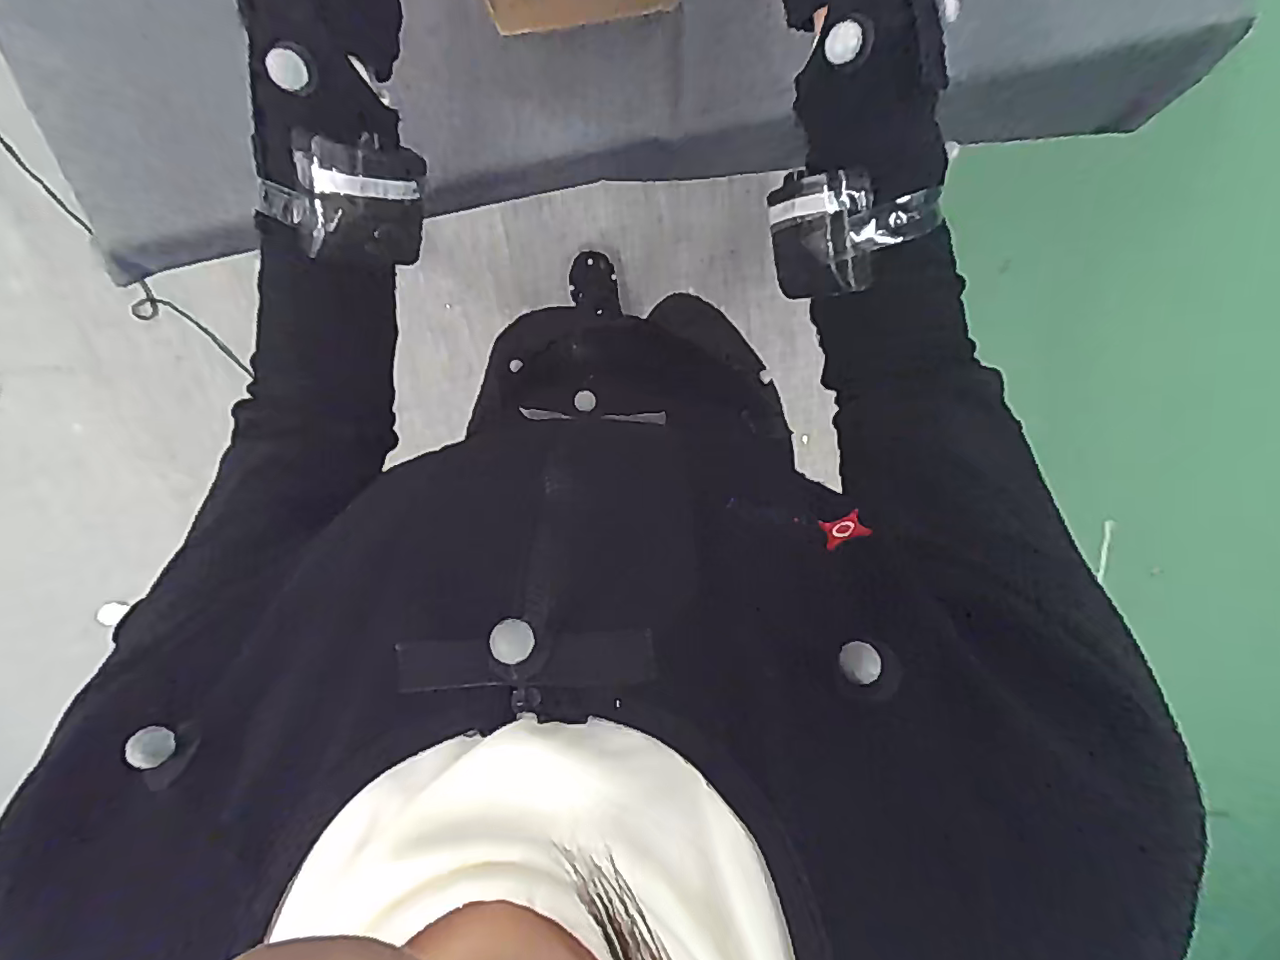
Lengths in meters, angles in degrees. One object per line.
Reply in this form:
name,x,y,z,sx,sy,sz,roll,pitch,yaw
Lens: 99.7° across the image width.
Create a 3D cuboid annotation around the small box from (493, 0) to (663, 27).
small box,-0.056,-0.490,0.418,0.179,0.176,0.168,-9,113,1
